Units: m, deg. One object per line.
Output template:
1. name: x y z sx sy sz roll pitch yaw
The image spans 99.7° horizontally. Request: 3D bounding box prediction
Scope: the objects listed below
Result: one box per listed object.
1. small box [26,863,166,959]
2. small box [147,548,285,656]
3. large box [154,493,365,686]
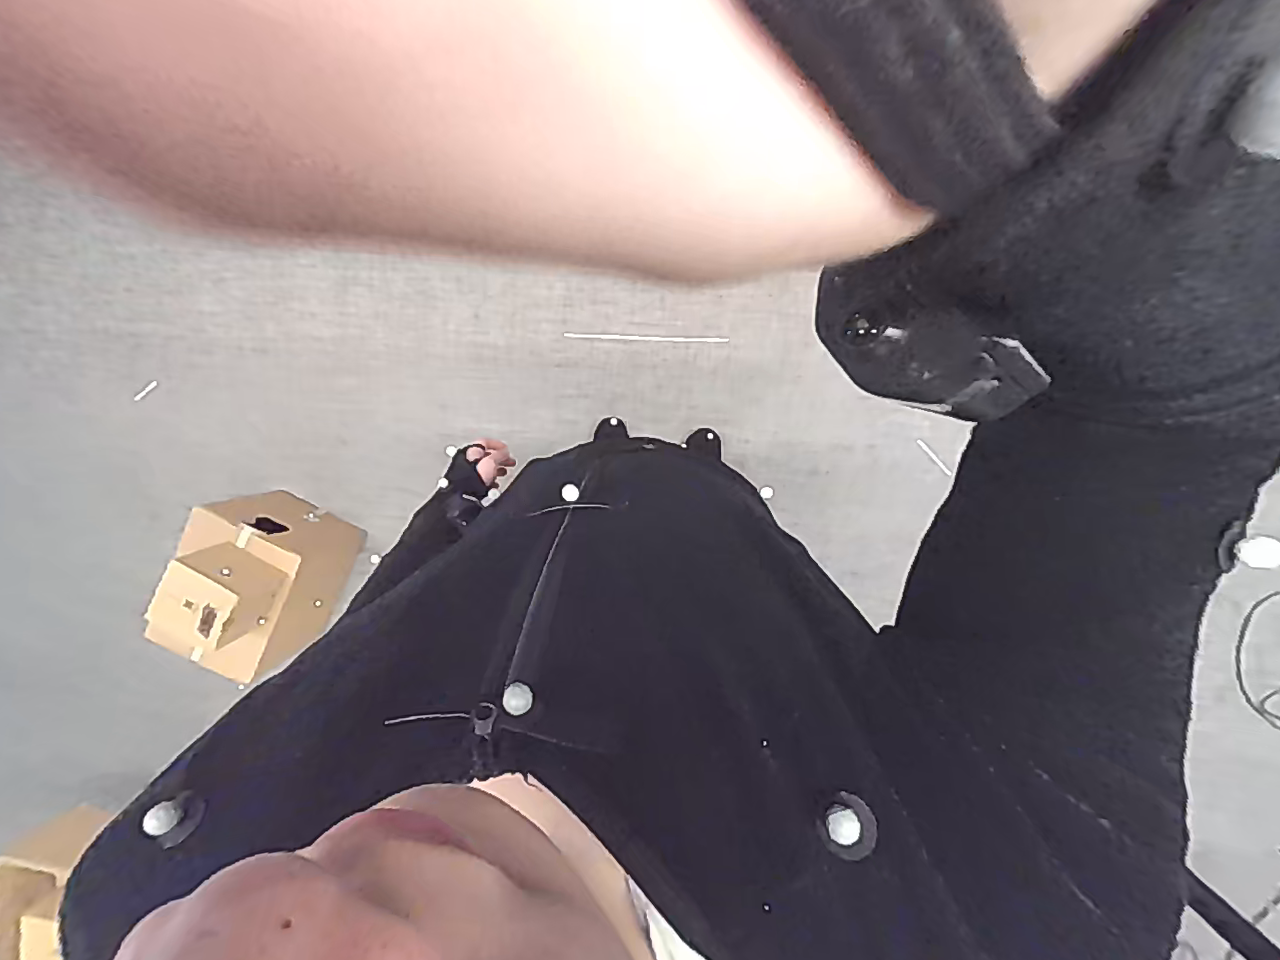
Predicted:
1. small box: -1.322 1.082 1.320 0.179 0.176 0.168 10 97 0
2. small box: -1.021 0.287 1.319 0.179 0.176 0.168 30 97 -2
3. large box: -1.080 0.295 1.571 0.320 0.320 0.408 26 98 0
